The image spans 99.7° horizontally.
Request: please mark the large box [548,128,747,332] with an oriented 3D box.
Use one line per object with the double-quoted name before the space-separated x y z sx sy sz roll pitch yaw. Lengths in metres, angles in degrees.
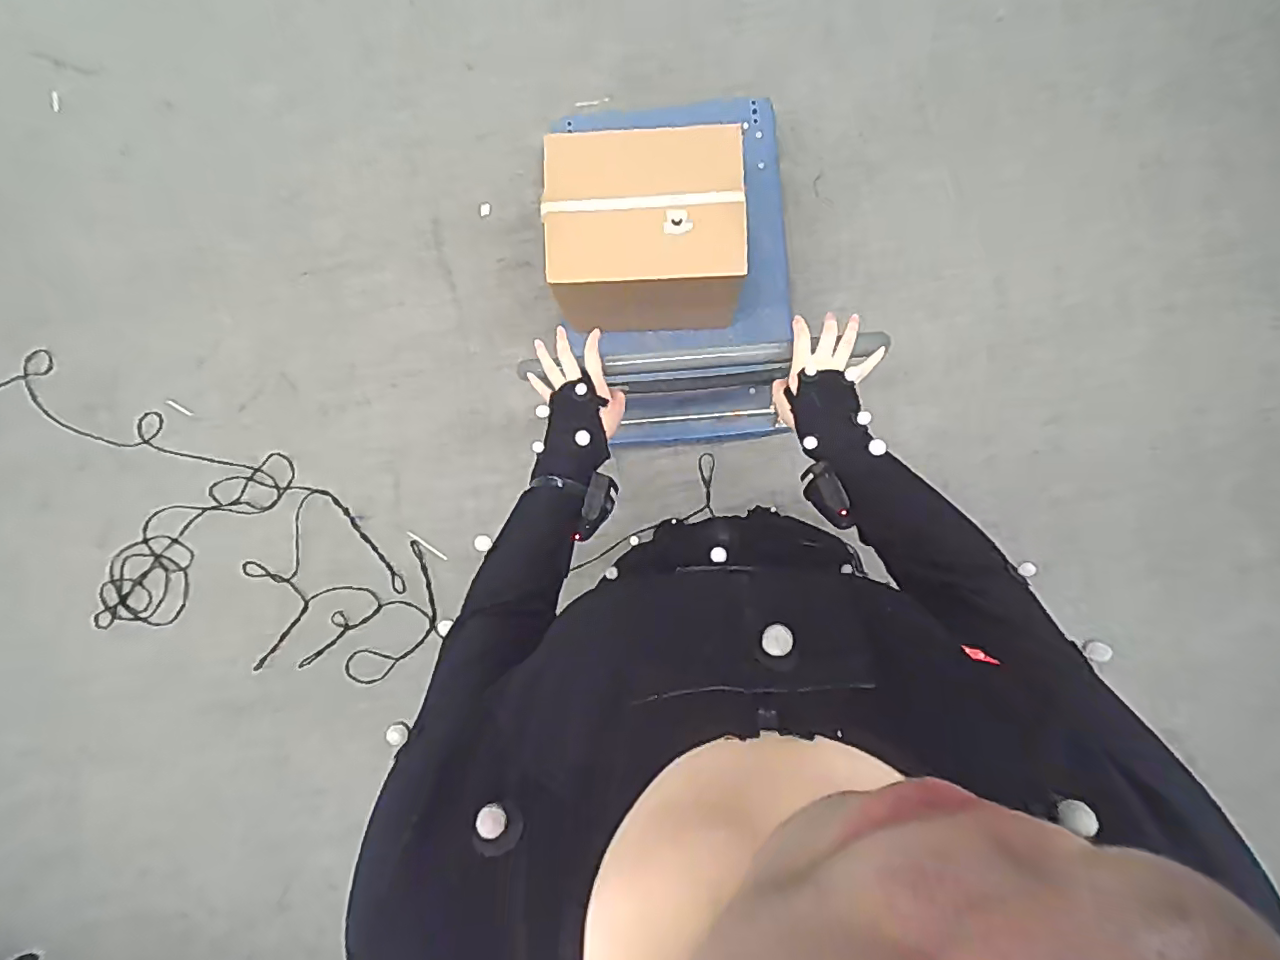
"large box" 0.016 -0.549 1.250 0.408 0.320 0.320 -2 86 2
